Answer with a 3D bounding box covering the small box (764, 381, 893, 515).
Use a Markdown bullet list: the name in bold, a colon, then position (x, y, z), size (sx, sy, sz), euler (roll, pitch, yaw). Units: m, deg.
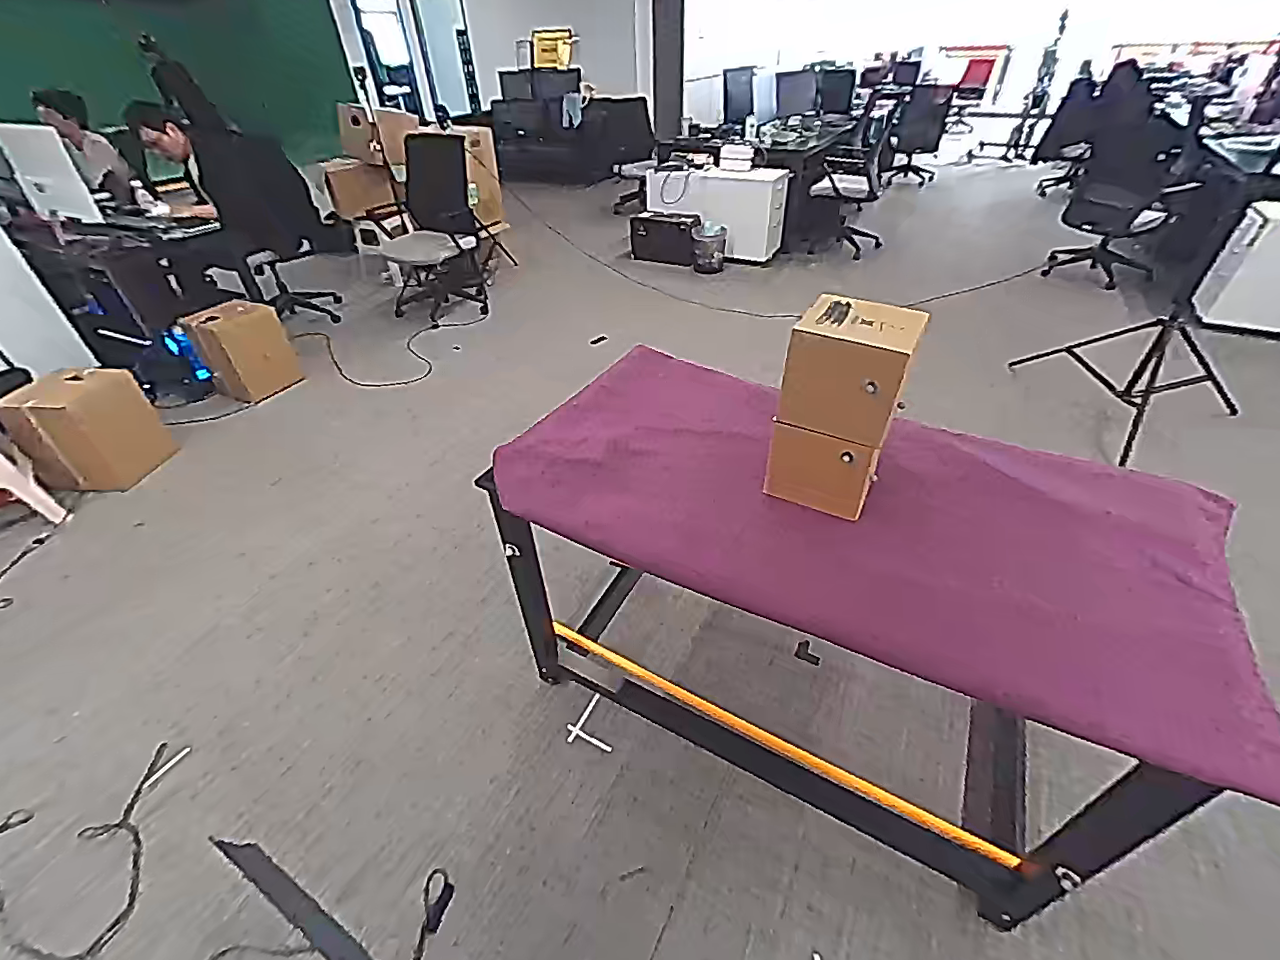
- **small box**: position (0.343, -0.060, 1.003), size (0.179, 0.176, 0.168), euler (19, 43, 23)
